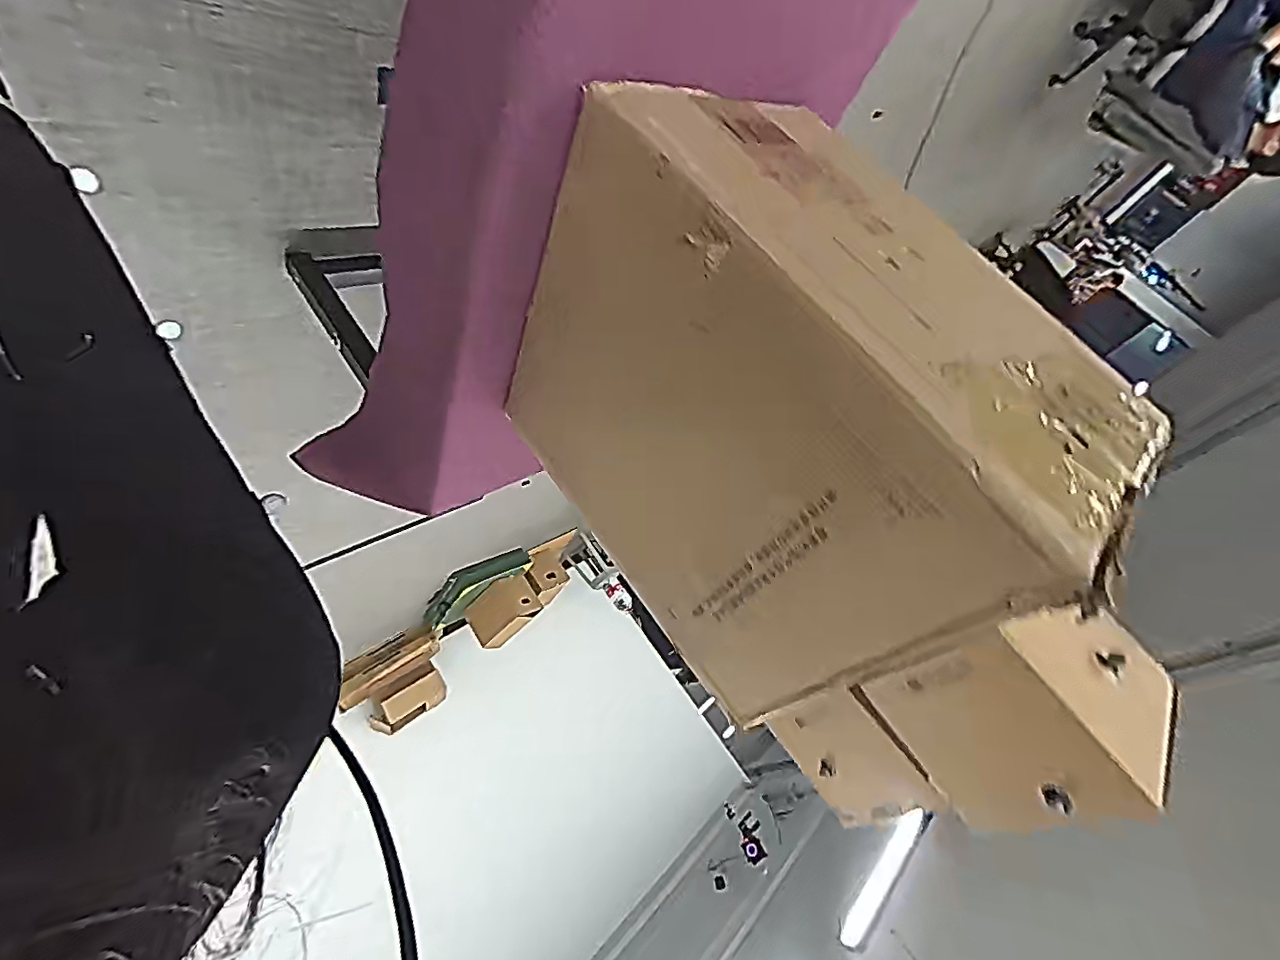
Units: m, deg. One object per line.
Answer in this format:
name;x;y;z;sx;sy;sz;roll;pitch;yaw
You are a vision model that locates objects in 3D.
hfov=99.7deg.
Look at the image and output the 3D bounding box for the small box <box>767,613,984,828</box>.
small box;0.302;0.309;0.712;0.179;0.176;0.168;-26;160;-42
